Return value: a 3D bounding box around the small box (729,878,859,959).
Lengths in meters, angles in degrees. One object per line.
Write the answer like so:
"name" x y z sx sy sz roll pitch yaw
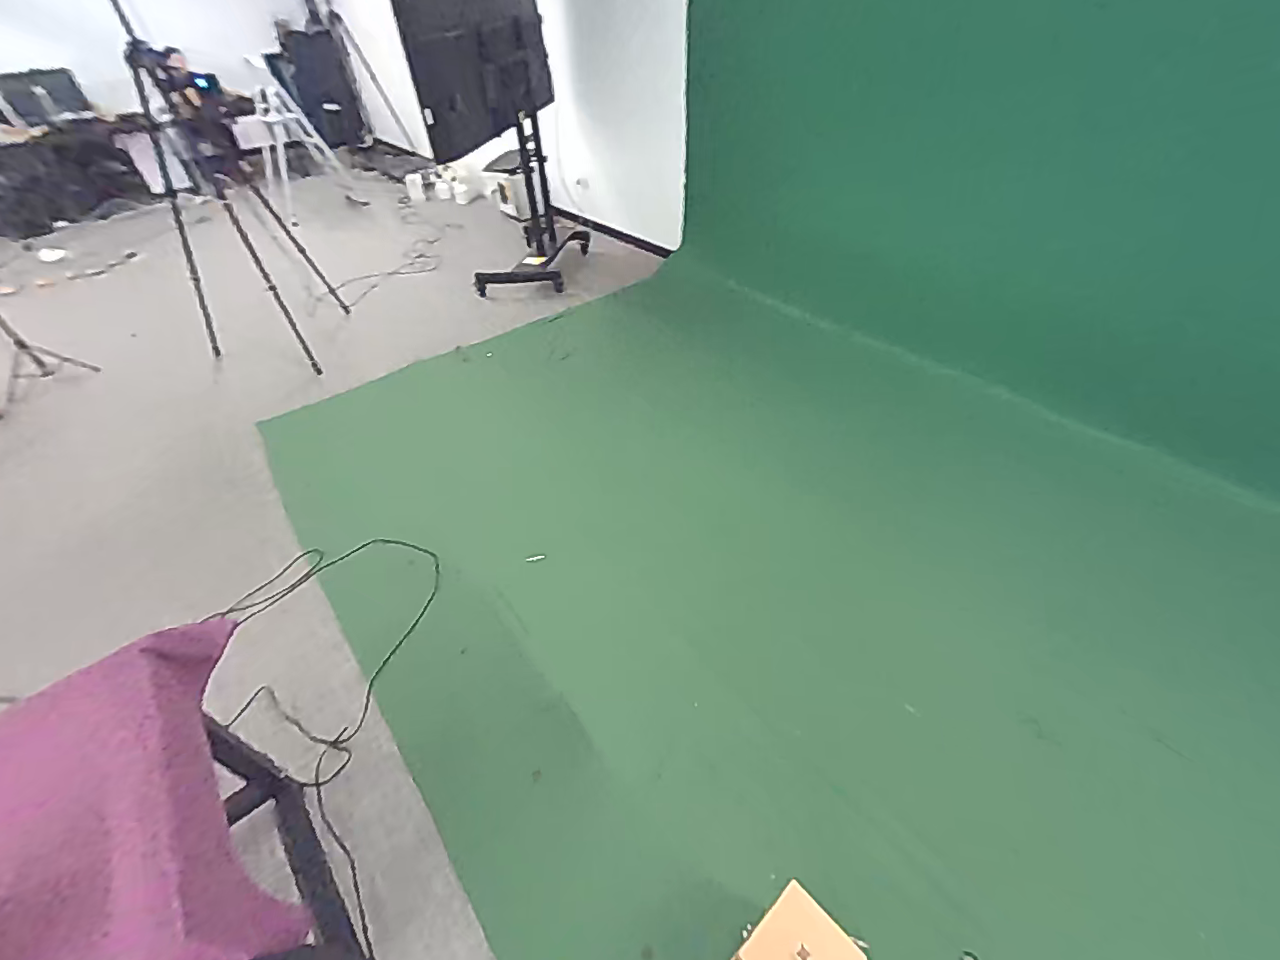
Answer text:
"small box" 0.287 0.928 1.047 0.179 0.176 0.168 -34 51 -28
